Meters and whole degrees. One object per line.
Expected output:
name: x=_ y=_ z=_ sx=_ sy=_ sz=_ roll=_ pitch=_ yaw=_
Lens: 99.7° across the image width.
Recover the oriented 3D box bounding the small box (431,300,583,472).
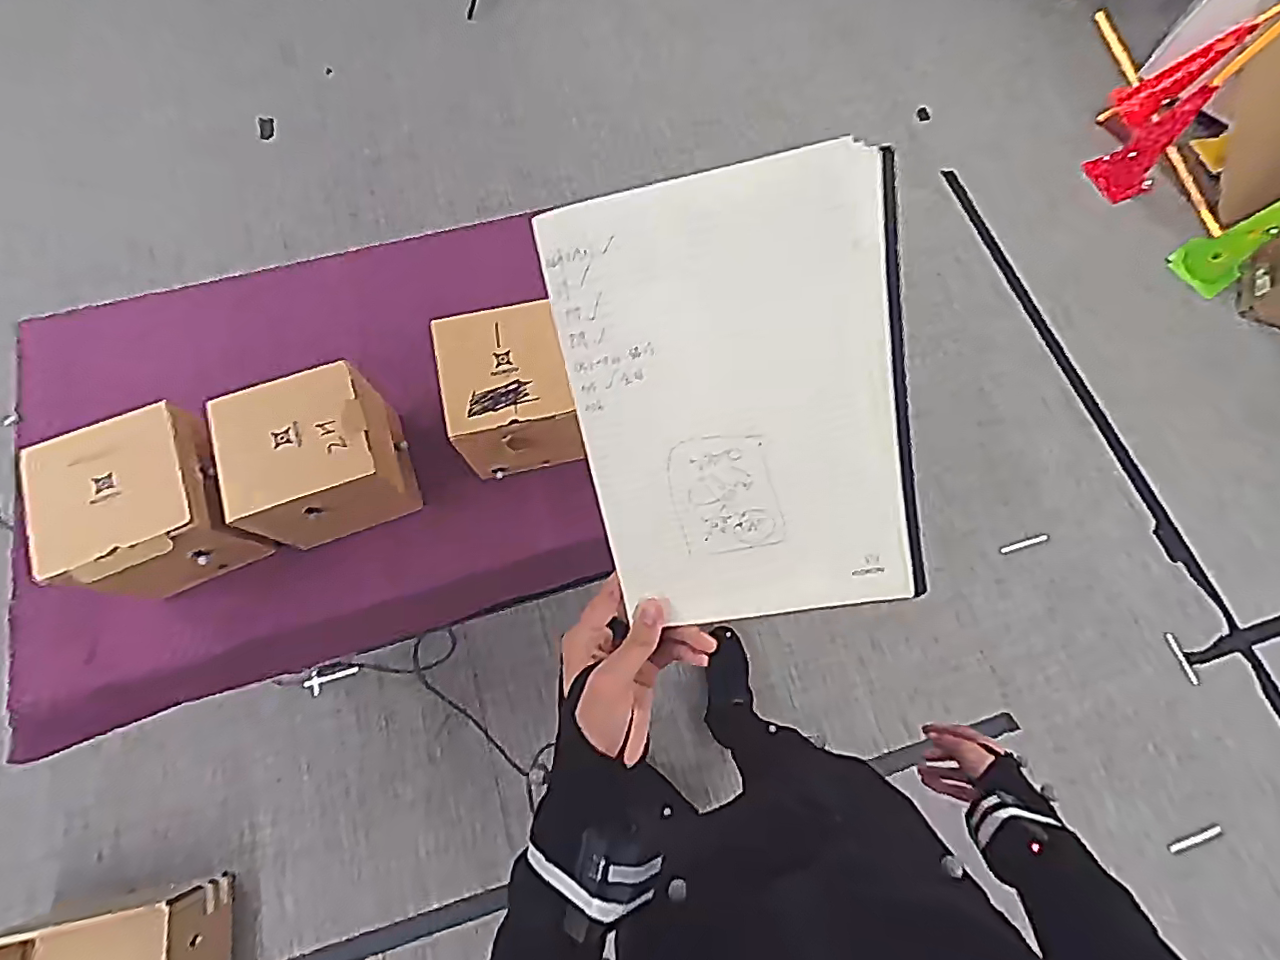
small box: x=-0.180 y=-0.122 z=0.773 sx=0.168 sy=0.176 sz=0.179 roll=-13 pitch=72 yaw=-6

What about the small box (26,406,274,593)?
small box: x=-0.622 y=0.037 z=0.707 sx=0.168 sy=0.176 sz=0.179 roll=-23 pitch=74 yaw=-10
